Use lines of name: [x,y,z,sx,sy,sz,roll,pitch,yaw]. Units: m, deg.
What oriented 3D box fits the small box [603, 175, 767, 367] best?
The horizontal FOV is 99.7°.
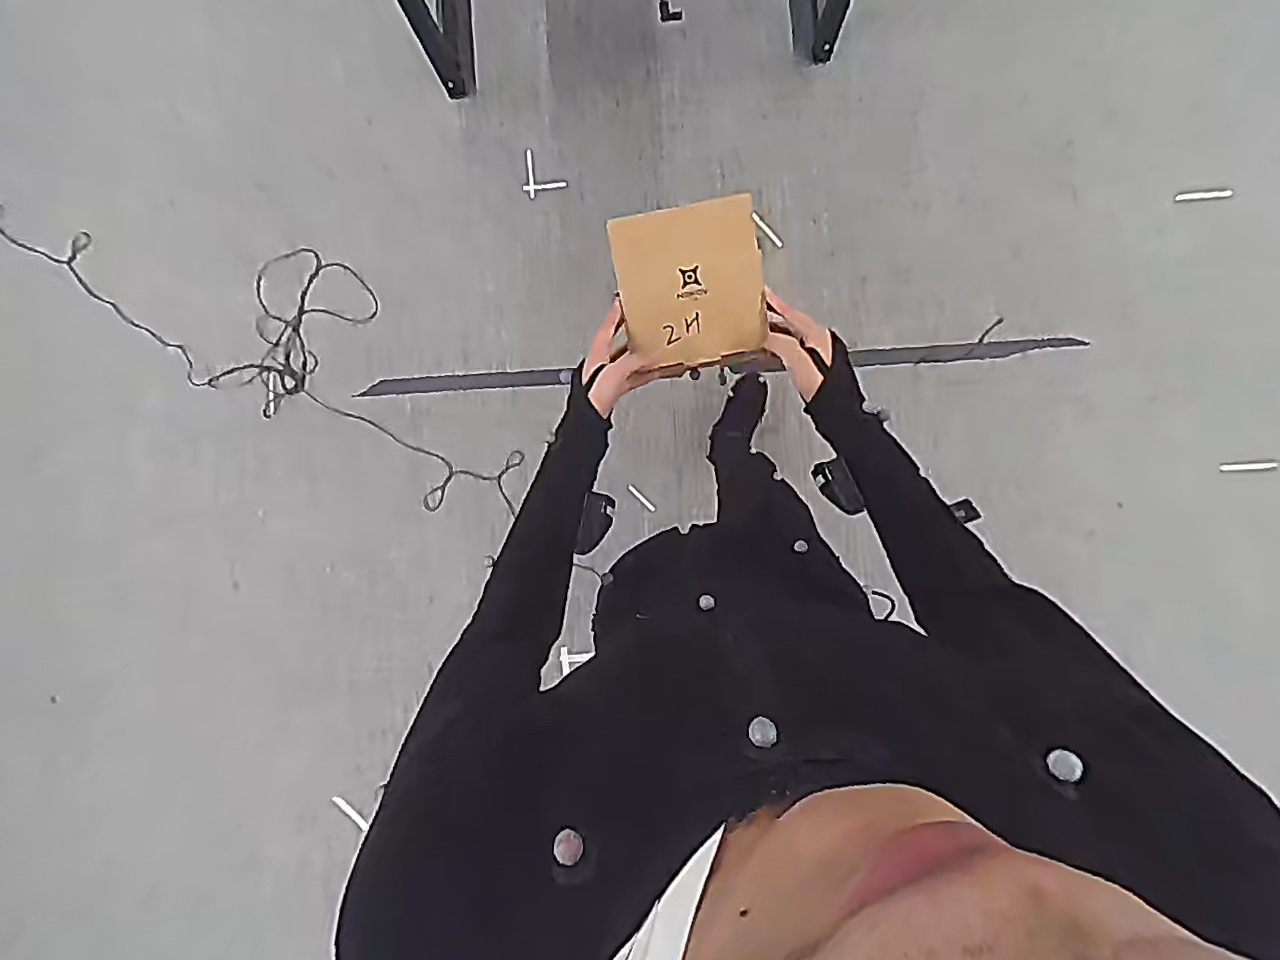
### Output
small box: [0.051,-0.248,0.684,0.168,0.176,0.179,-10,98,2]
